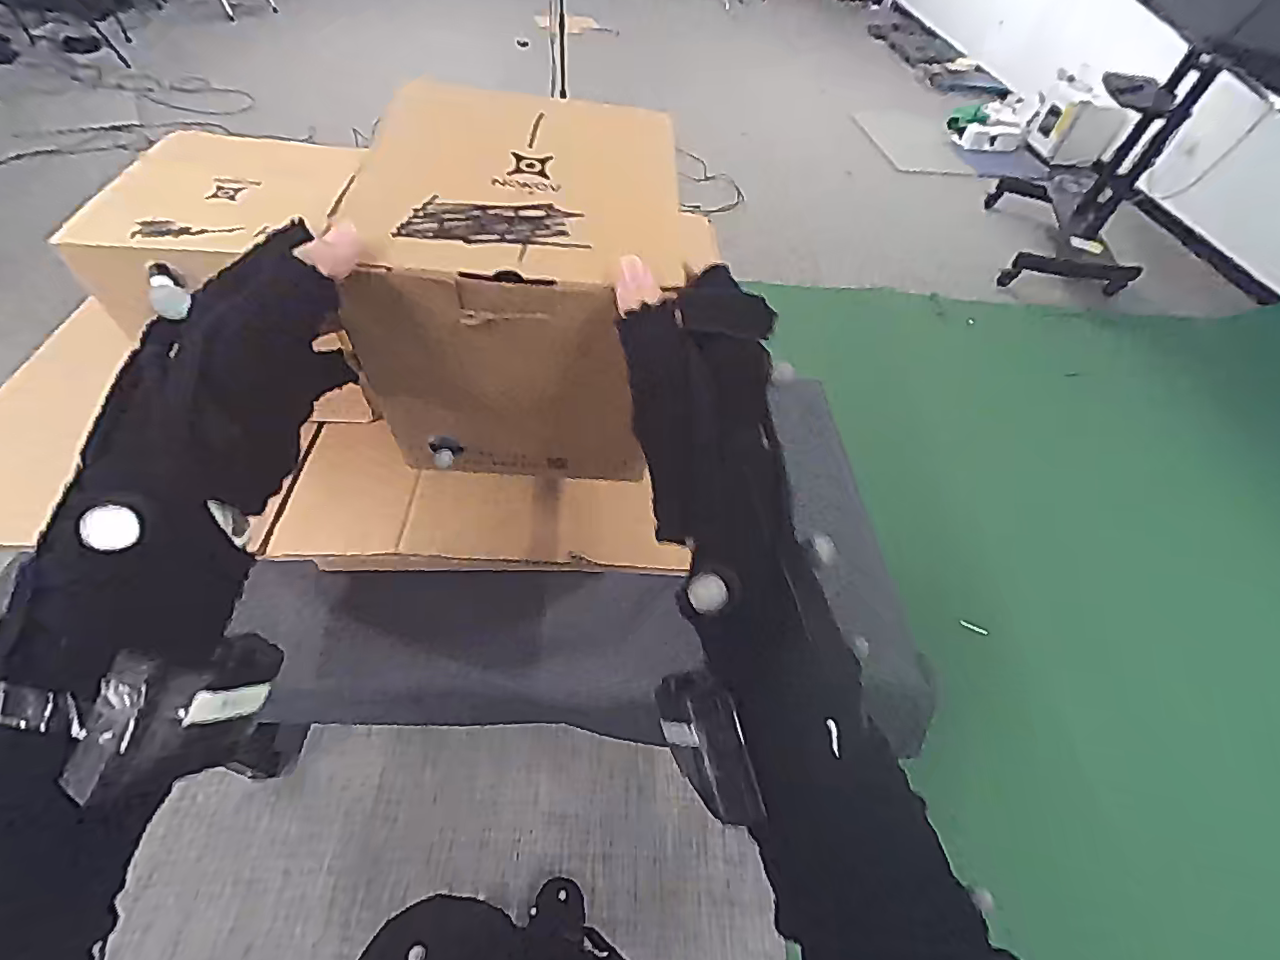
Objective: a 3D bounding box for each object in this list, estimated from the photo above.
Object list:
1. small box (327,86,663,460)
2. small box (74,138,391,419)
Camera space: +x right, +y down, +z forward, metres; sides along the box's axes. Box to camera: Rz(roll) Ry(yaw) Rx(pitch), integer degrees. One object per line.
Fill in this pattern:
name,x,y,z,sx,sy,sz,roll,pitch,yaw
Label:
small box,-0.075,-0.130,0.372,0.168,0.176,0.179,4,56,-5
small box,-0.318,-0.179,0.492,0.168,0.176,0.179,2,52,-3
